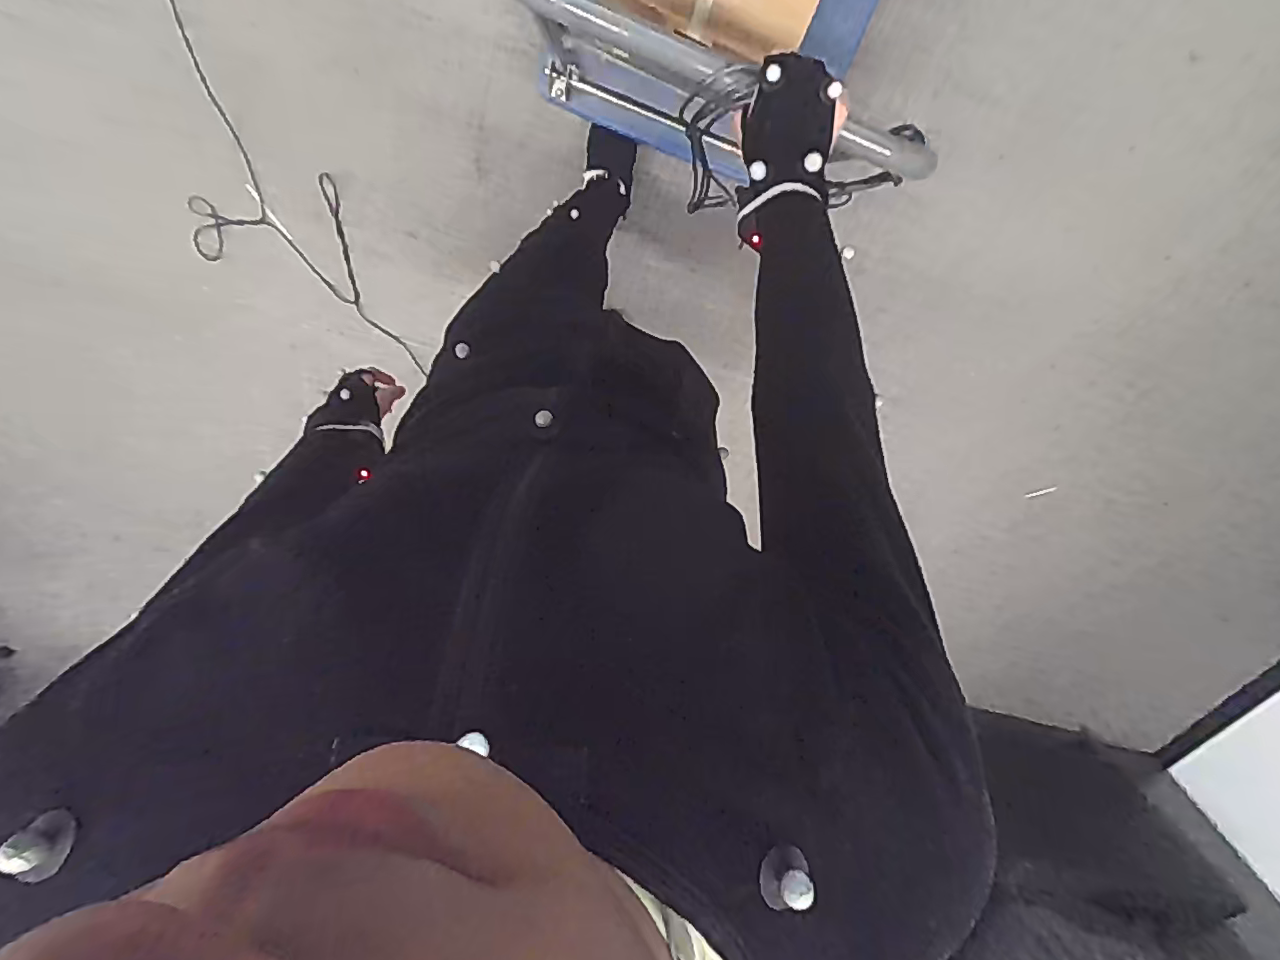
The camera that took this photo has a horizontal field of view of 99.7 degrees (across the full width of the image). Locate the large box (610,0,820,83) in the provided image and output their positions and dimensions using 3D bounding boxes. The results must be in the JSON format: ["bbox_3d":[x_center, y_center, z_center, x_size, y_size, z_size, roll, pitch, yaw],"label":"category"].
[{"bbox_3d":[0.156,-0.902,0.810,0.320,0.320,0.408,19,119,-12],"label":"large box"}]
